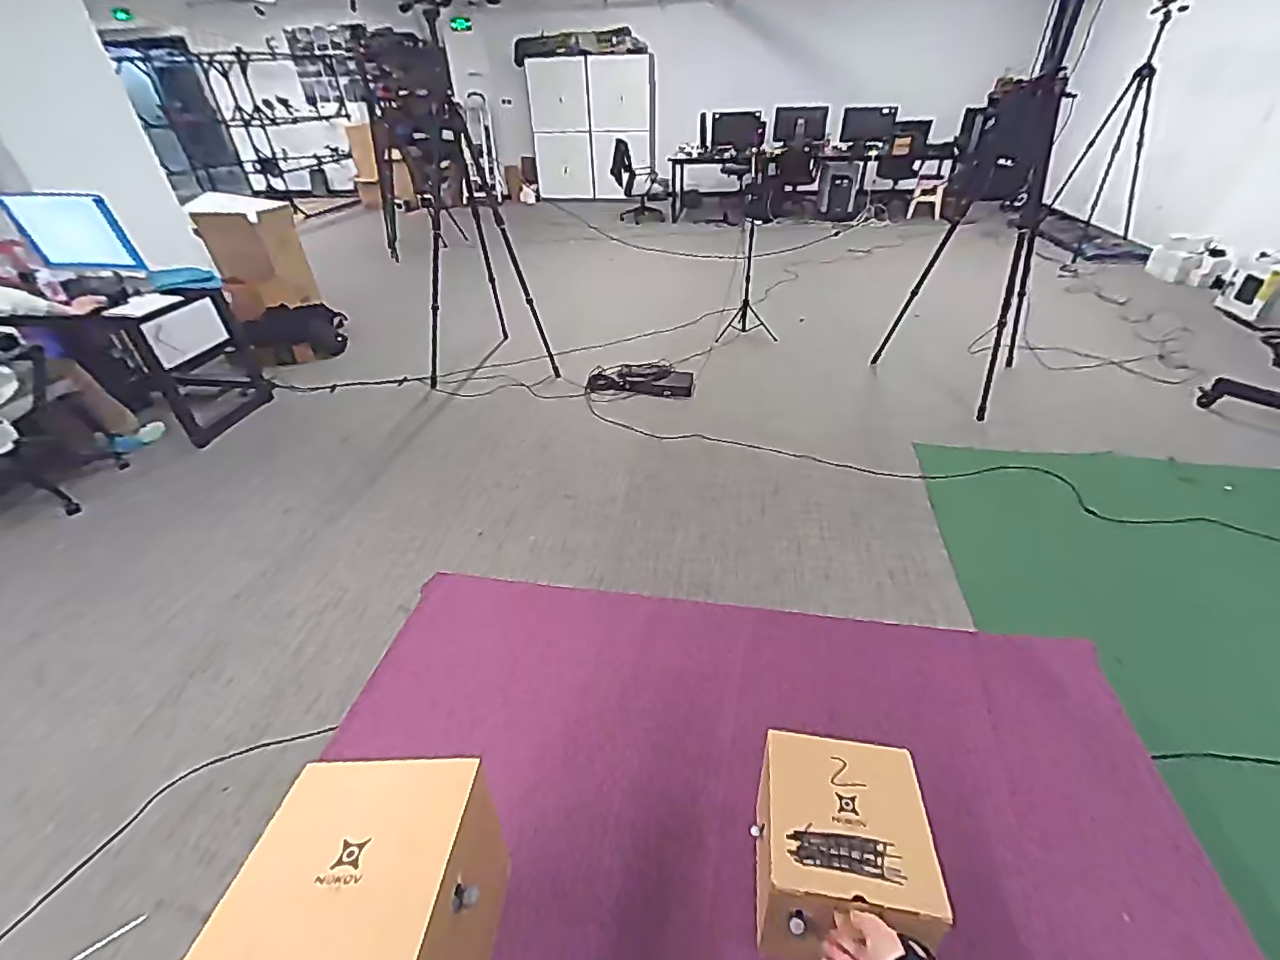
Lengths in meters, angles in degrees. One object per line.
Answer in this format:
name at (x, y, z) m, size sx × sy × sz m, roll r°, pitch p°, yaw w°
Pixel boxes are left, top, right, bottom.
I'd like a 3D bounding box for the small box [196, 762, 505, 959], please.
small box at (-0.224, 0.379, 0.470) m, size 0.168 × 0.176 × 0.179 m, roll -3°, pitch 26°, yaw 2°
